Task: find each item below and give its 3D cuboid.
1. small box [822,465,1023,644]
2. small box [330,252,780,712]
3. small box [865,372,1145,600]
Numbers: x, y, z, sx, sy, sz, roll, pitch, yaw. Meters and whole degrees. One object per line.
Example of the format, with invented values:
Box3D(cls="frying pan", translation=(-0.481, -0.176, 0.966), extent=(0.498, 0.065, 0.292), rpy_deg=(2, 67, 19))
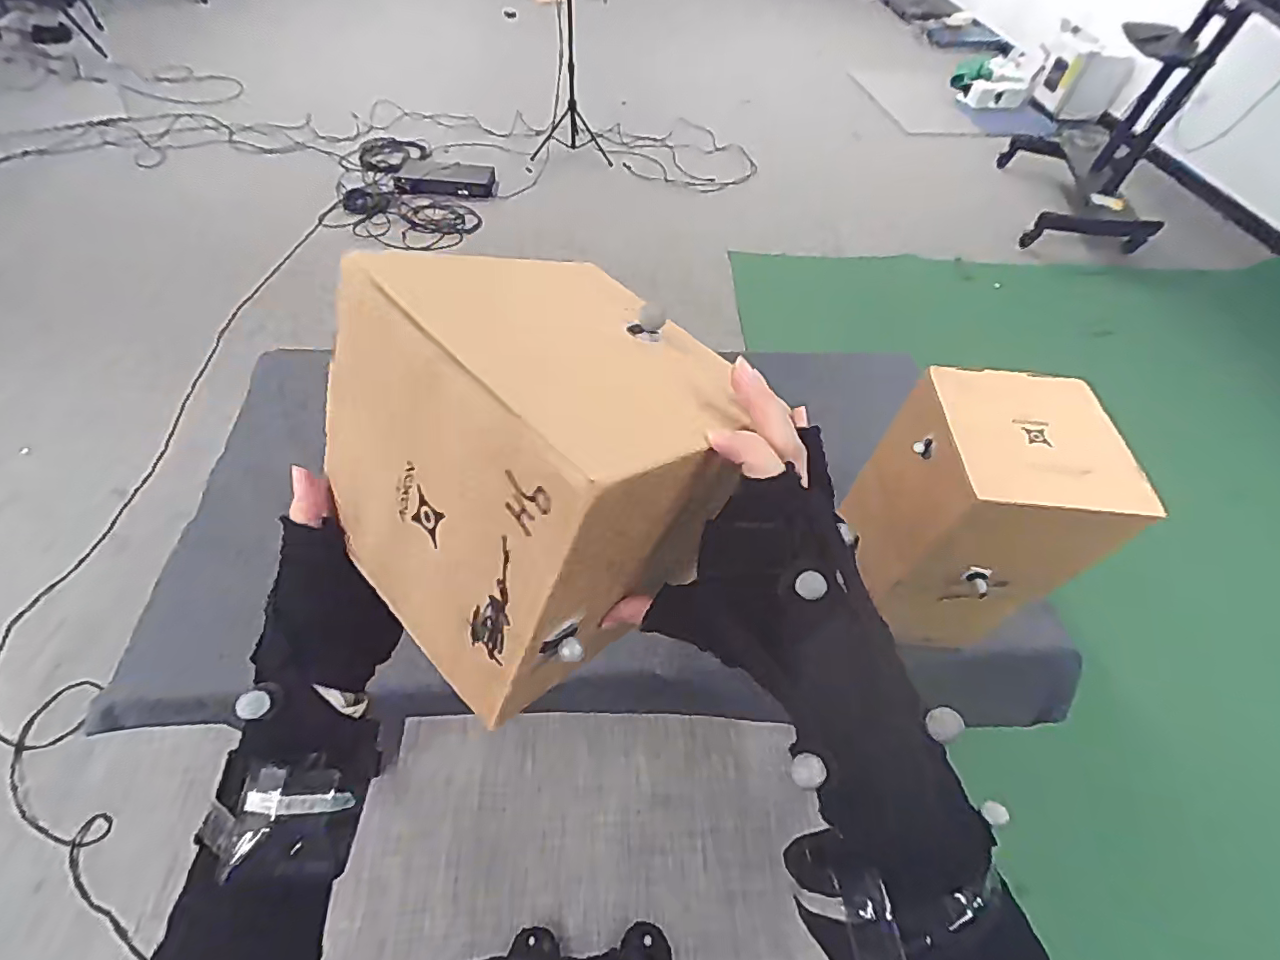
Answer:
Box3D(cls="small box", translation=(0.358, 0.104, 0.720), extent=(0.168, 0.176, 0.179), rpy_deg=(5, 52, -1))
Box3D(cls="small box", translation=(-0.053, -0.010, 0.326), extent=(0.179, 0.168, 0.176), rpy_deg=(43, 35, 22))
Box3D(cls="small box", translation=(0.366, 0.010, 0.589), extent=(0.168, 0.176, 0.179), rpy_deg=(5, 54, 1))
